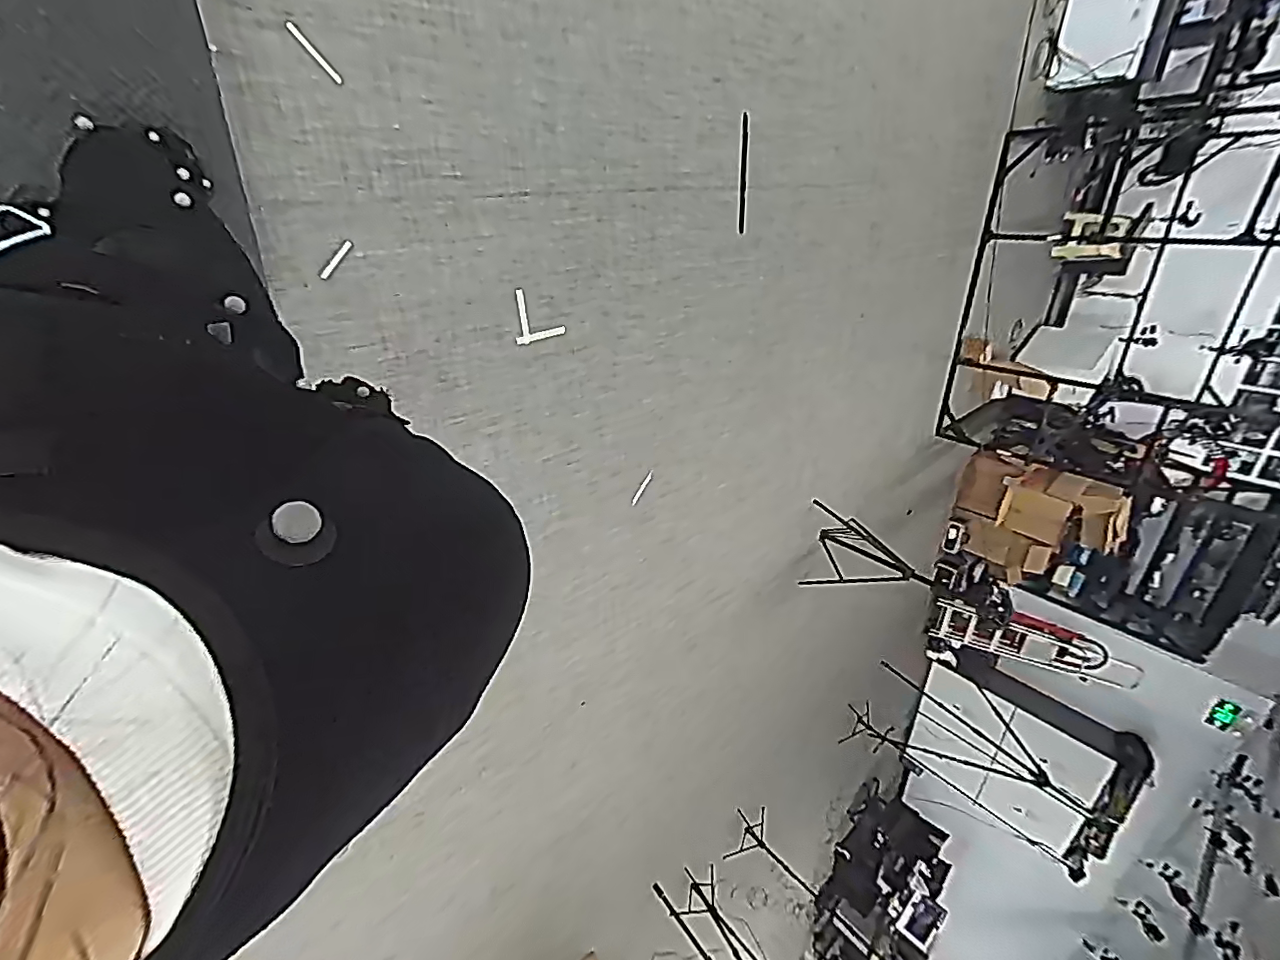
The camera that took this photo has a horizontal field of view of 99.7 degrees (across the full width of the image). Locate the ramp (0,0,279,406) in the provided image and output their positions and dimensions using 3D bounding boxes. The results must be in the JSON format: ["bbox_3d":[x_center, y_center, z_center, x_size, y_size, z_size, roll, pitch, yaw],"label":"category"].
[{"bbox_3d":[-0.958,-0.608,0.846,0.509,0.206,0.991,-23,125,-36],"label":"ramp"}]
